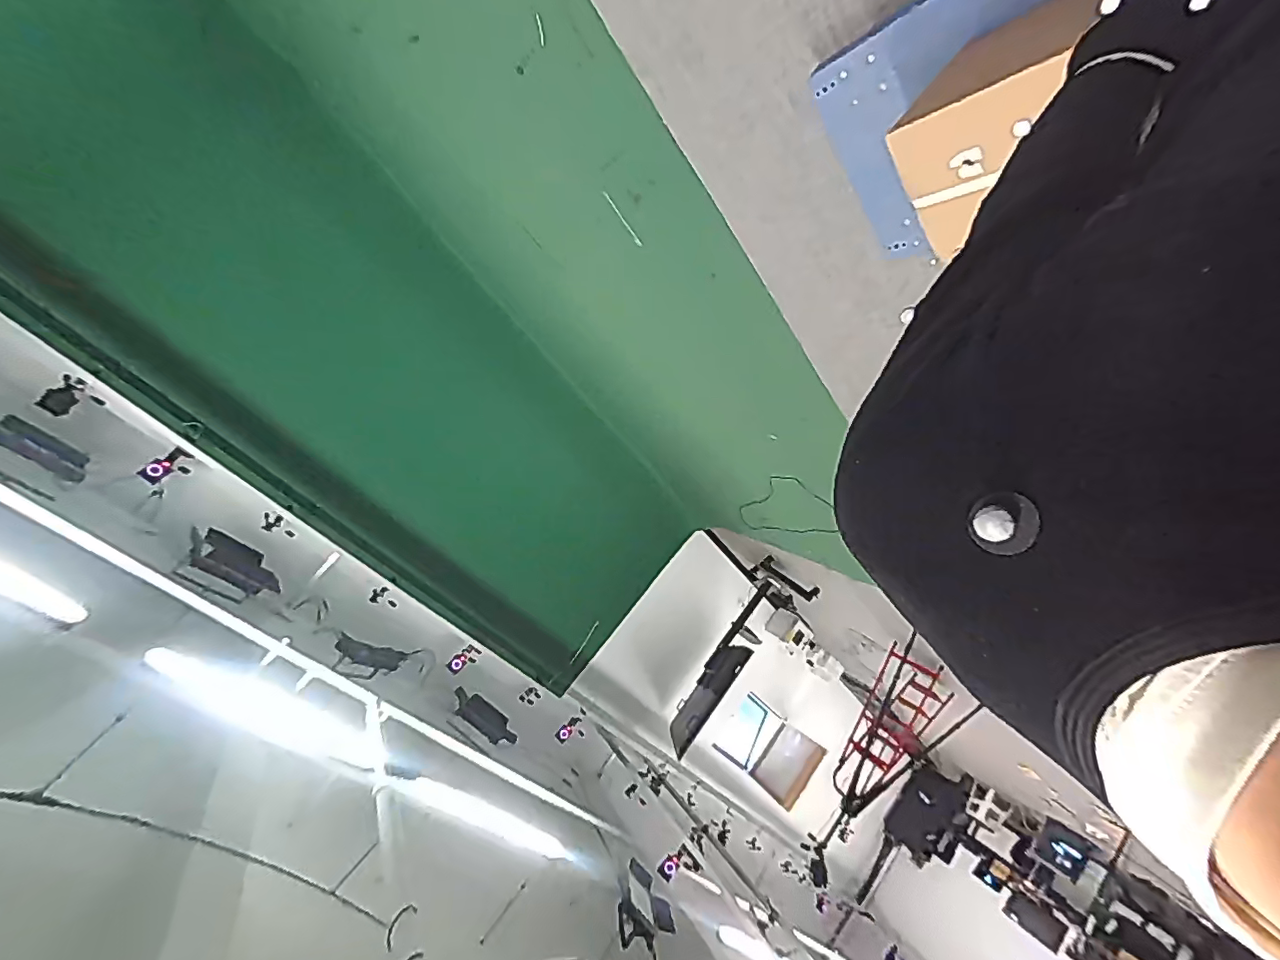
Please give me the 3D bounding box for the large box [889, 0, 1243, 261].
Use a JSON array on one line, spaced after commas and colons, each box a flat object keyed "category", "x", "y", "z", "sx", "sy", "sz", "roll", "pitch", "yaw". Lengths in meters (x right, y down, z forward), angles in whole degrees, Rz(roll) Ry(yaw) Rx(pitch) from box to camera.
[{"category": "large box", "x": 0.781, "y": -0.675, "z": 1.019, "sx": 0.320, "sy": 0.320, "sz": 0.408, "roll": 48, "pitch": 165, "yaw": -27}]
